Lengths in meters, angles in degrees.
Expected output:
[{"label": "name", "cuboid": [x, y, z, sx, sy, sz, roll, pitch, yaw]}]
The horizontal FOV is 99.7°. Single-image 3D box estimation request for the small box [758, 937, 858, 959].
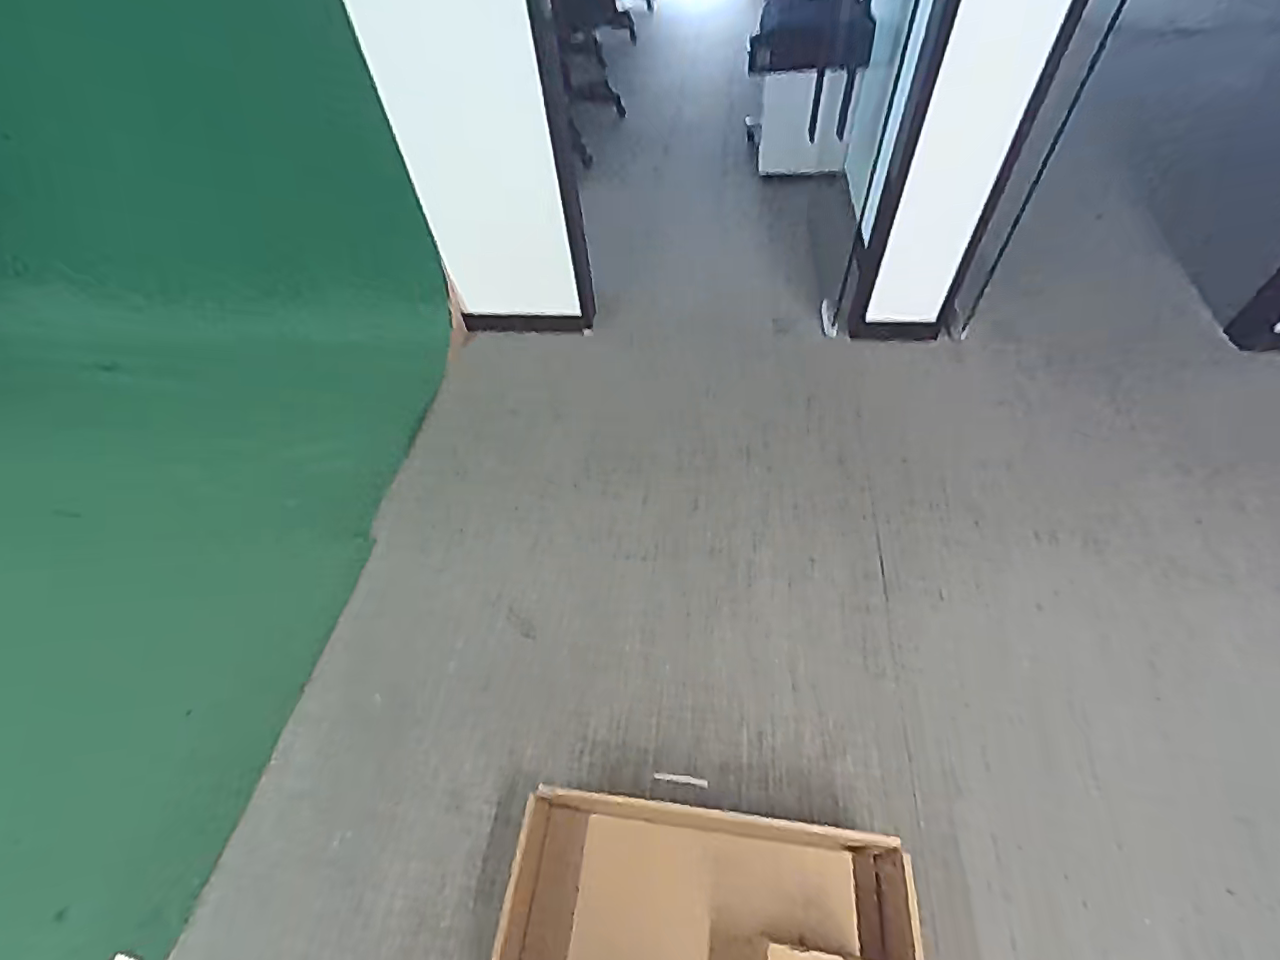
[{"label": "small box", "cuboid": [0.255, 0.783, 0.769, 0.168, 0.176, 0.179, 6, 52, 10]}]
